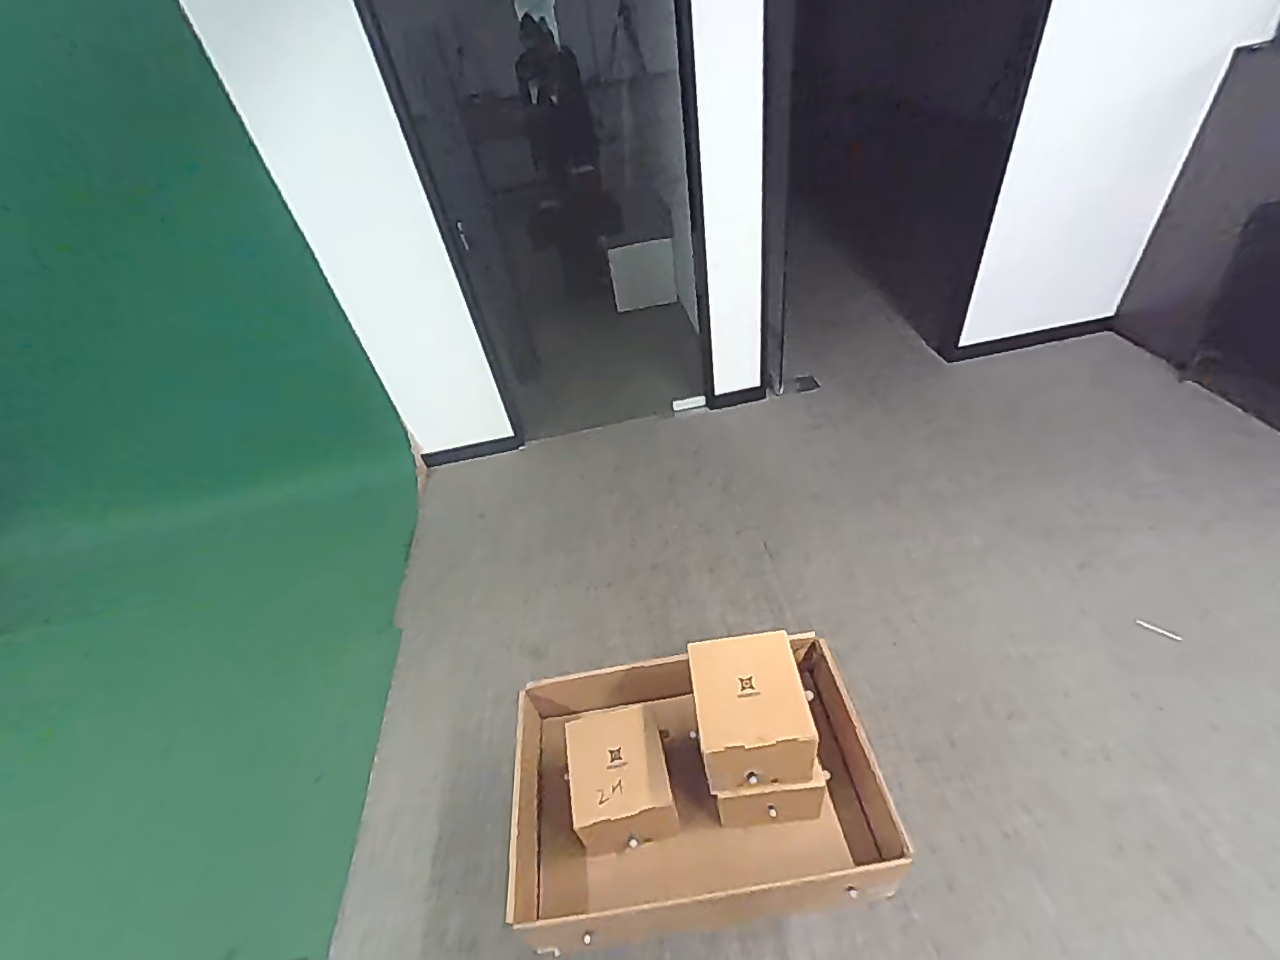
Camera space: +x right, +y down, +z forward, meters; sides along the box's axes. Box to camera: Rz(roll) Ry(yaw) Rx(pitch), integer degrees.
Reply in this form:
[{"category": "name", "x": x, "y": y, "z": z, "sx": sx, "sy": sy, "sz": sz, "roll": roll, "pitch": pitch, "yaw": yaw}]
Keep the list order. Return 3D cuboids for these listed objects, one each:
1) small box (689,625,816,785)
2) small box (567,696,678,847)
[{"category": "small box", "x": 0.174, "y": 0.364, "z": 0.875, "sx": 0.168, "sy": 0.176, "sz": 0.179, "roll": -9, "pitch": 41, "yaw": 3}, {"category": "small box", "x": -0.032, "y": 0.527, "z": 0.979, "sx": 0.168, "sy": 0.176, "sz": 0.179, "roll": -12, "pitch": 42, "yaw": -2}]
